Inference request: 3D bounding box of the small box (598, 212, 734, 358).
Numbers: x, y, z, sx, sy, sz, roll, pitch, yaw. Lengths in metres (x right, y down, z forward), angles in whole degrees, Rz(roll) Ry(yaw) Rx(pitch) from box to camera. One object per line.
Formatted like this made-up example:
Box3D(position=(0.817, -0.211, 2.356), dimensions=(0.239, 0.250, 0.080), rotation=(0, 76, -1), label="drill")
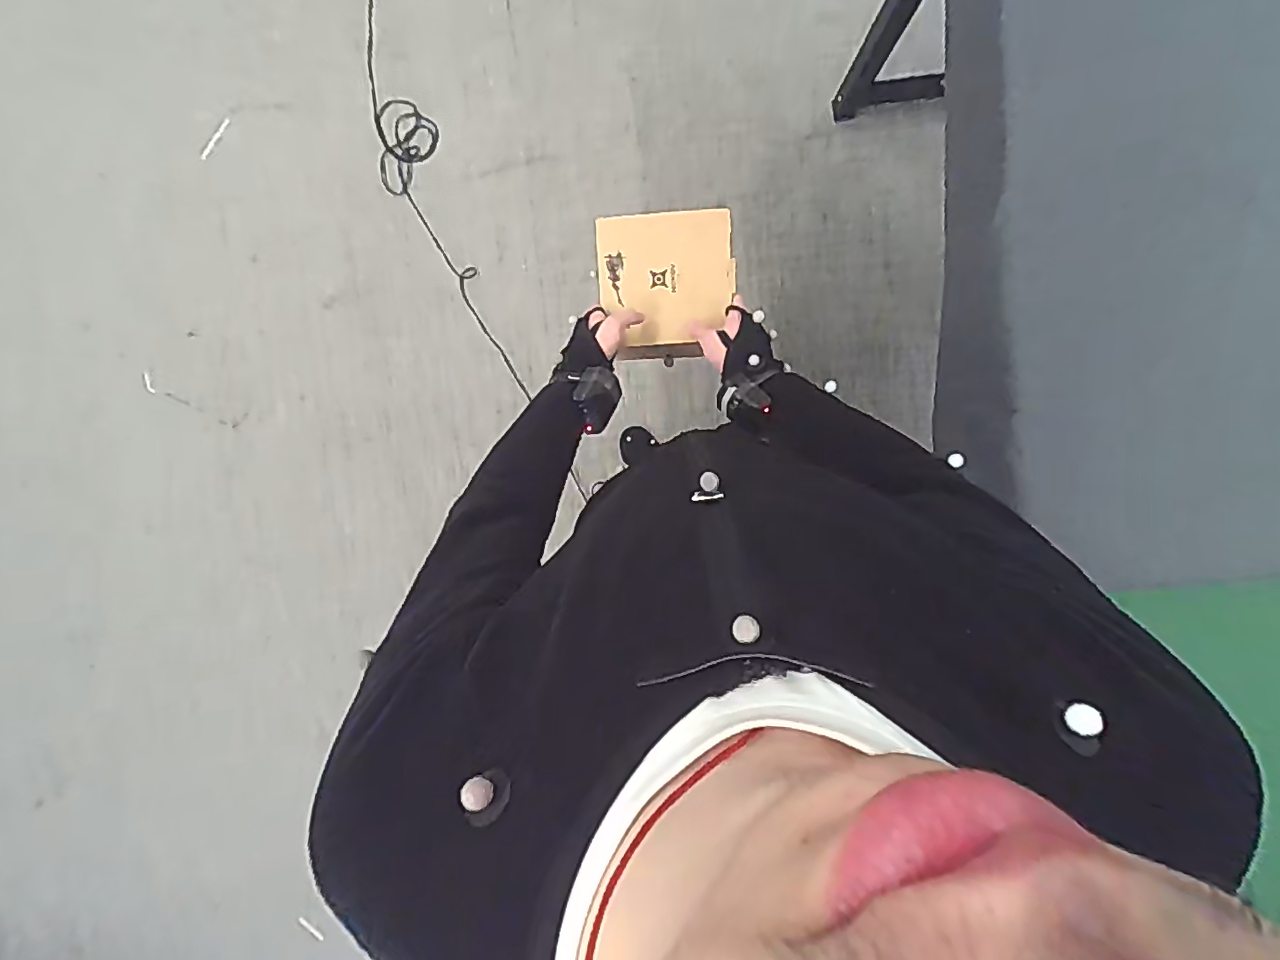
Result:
Box3D(position=(0.036, -0.269, 0.778), dimensions=(0.179, 0.176, 0.168), rotation=(-2, 97, 3), label="small box")
